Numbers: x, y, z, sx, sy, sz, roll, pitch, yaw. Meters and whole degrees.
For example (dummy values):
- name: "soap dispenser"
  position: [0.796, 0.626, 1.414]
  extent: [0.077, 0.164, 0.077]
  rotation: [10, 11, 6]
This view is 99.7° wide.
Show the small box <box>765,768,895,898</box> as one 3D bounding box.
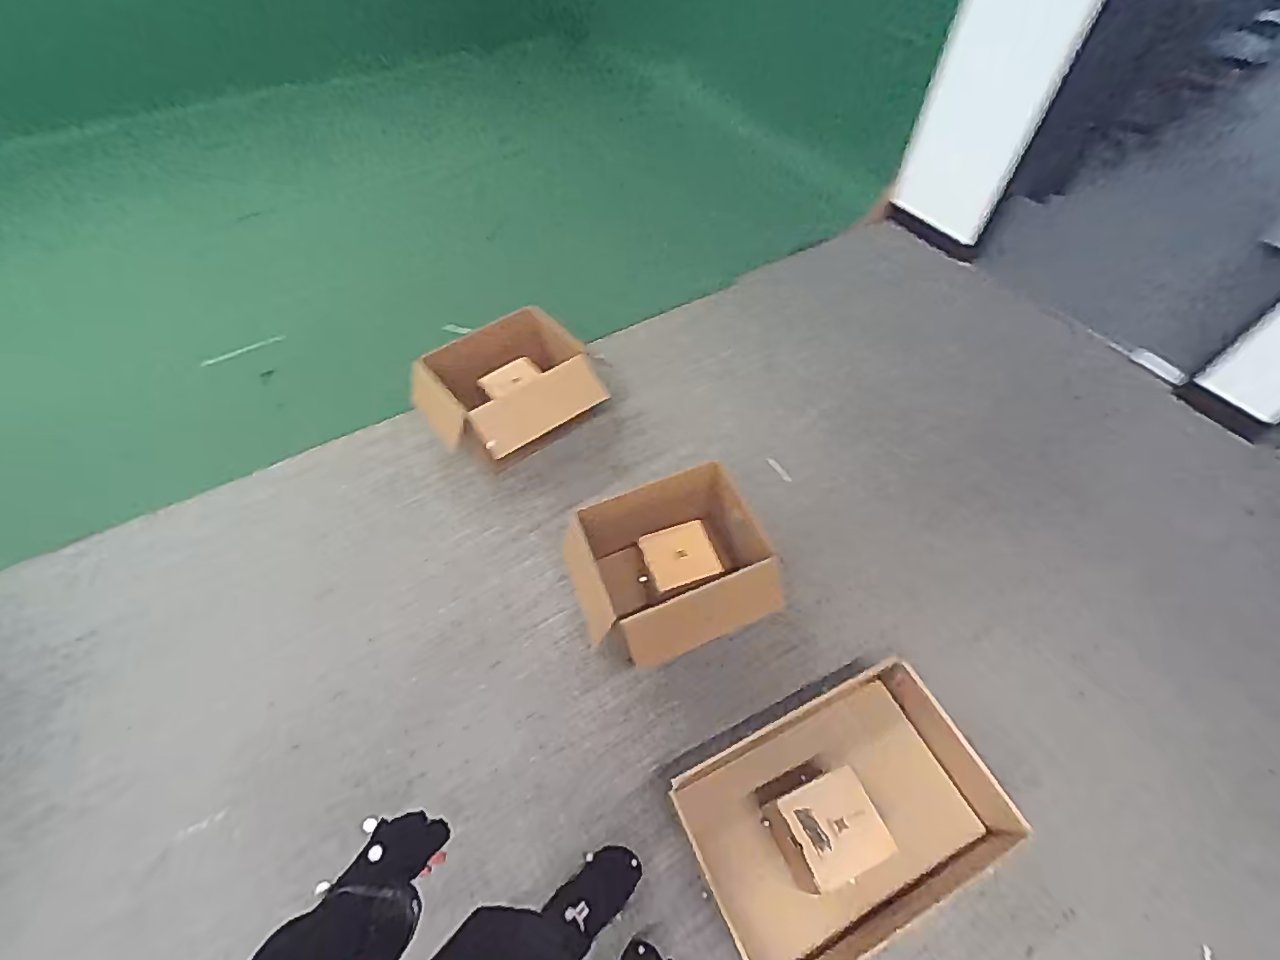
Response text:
- name: "small box"
  position: [0.372, 0.719, 1.103]
  extent: [0.179, 0.176, 0.168]
  rotation: [-18, 57, -14]
